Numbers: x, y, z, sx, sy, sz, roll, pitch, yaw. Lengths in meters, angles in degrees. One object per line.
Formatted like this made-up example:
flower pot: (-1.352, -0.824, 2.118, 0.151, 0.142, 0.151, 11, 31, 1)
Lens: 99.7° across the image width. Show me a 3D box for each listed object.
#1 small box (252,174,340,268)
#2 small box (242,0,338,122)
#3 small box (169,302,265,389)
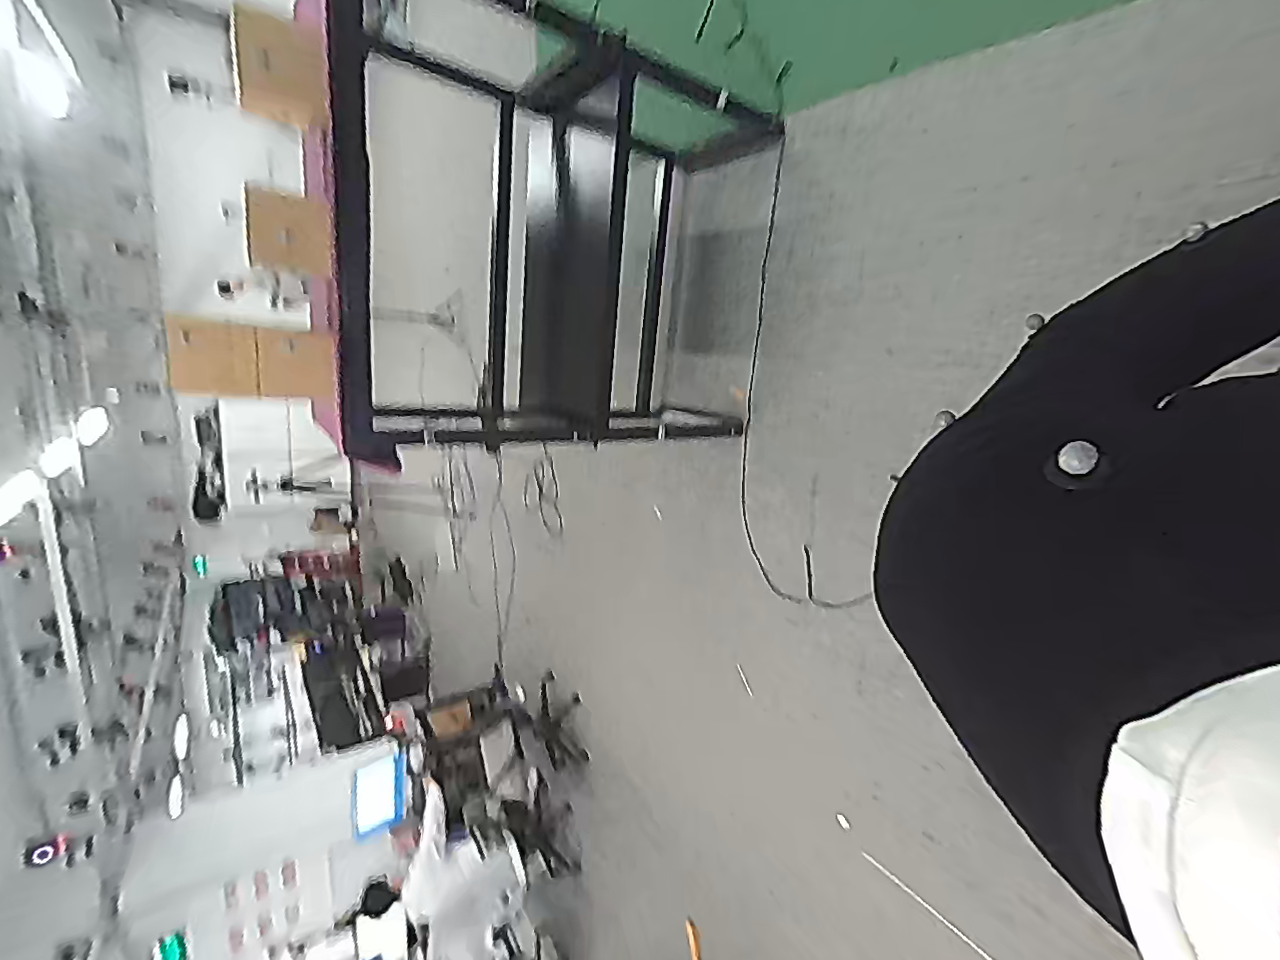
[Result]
small box: (-0.833, -0.618, 1.313, 0.168, 0.176, 0.179, 28, 116, 50)
small box: (-0.790, -0.940, 1.224, 0.168, 0.176, 0.179, 22, 111, 50)
small box: (-1.009, -0.322, 1.302, 0.168, 0.176, 0.179, 30, 115, 50)
